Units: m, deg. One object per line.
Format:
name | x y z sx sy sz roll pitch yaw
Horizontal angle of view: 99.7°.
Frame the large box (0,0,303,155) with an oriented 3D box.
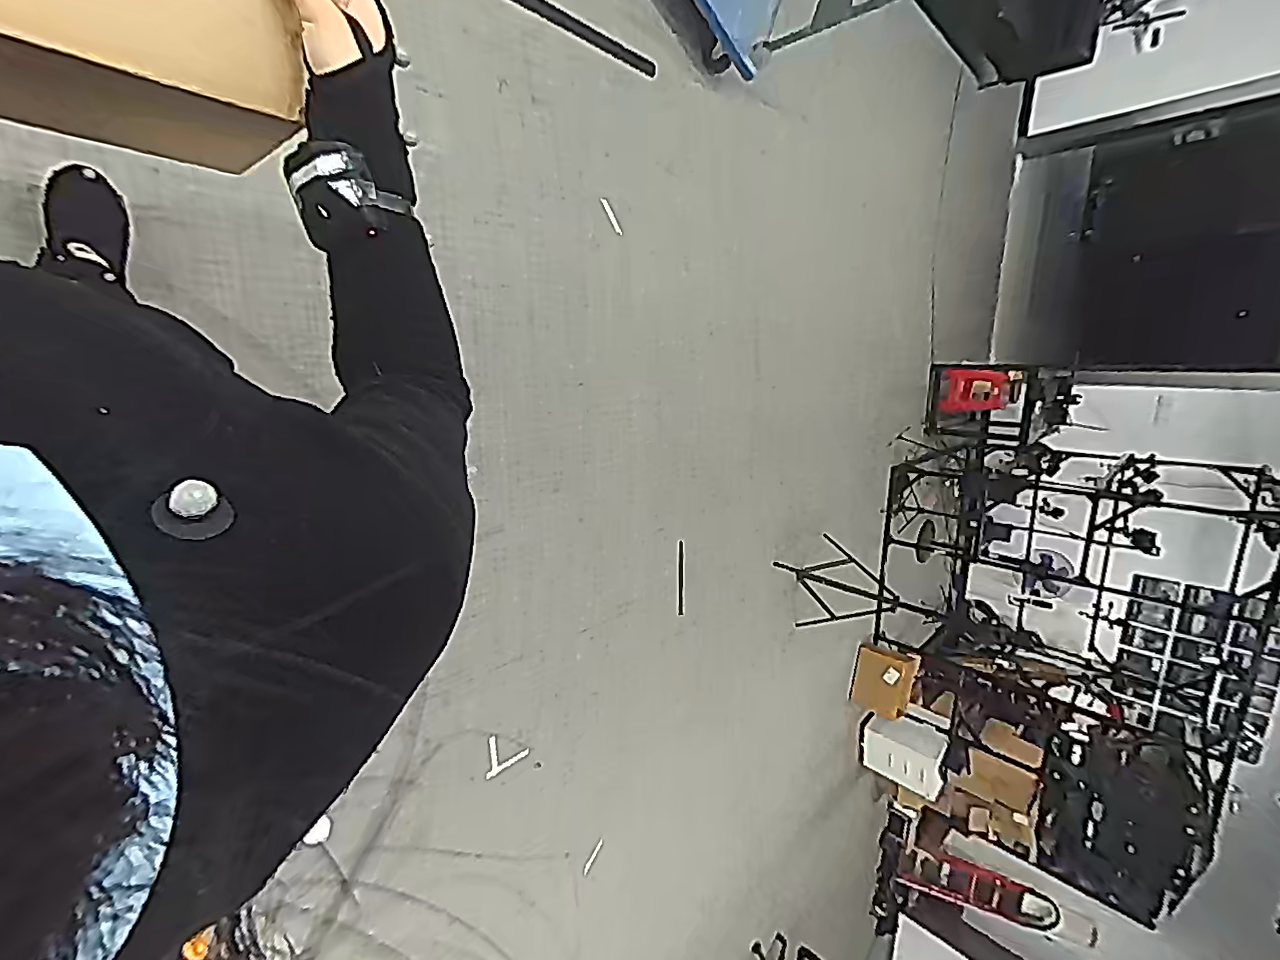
large box | -0.492 -0.456 0.356 0.408 0.320 0.320 -7 110 -42
